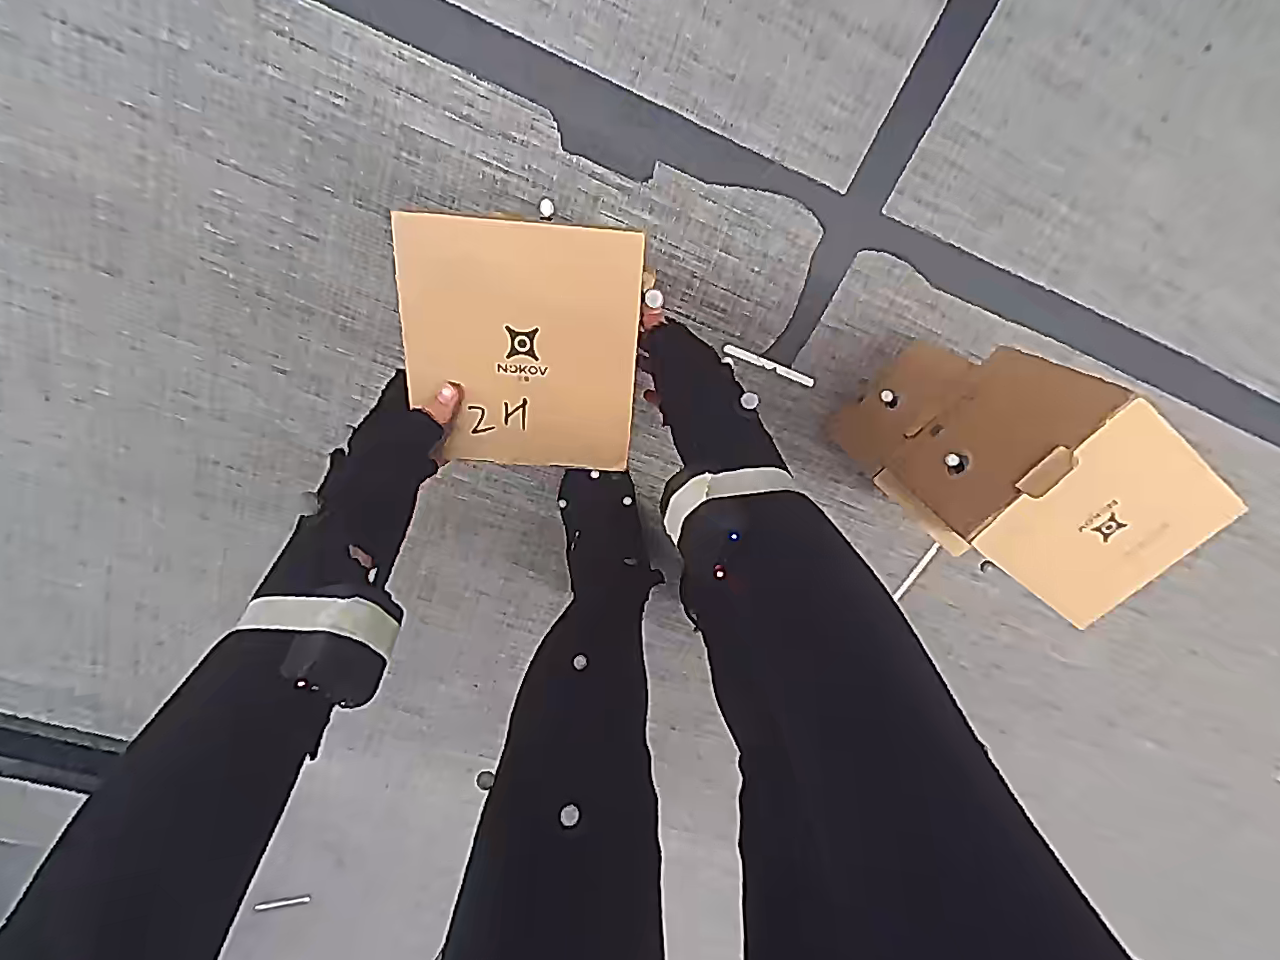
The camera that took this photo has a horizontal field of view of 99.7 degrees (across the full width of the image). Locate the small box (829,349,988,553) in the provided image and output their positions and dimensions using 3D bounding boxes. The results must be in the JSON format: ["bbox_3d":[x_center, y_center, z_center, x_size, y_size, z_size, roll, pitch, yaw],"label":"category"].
[{"bbox_3d":[0.376,-0.047,0.688,0.179,0.176,0.168,35,110,-18],"label":"small box"}]

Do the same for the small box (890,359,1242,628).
[{"bbox_3d":[0.387,0.002,0.528,0.179,0.176,0.168,33,112,-17],"label":"small box"}]

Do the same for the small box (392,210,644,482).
[{"bbox_3d":[-0.091,-0.121,0.458,0.168,0.176,0.179,8,117,-3],"label":"small box"}]
